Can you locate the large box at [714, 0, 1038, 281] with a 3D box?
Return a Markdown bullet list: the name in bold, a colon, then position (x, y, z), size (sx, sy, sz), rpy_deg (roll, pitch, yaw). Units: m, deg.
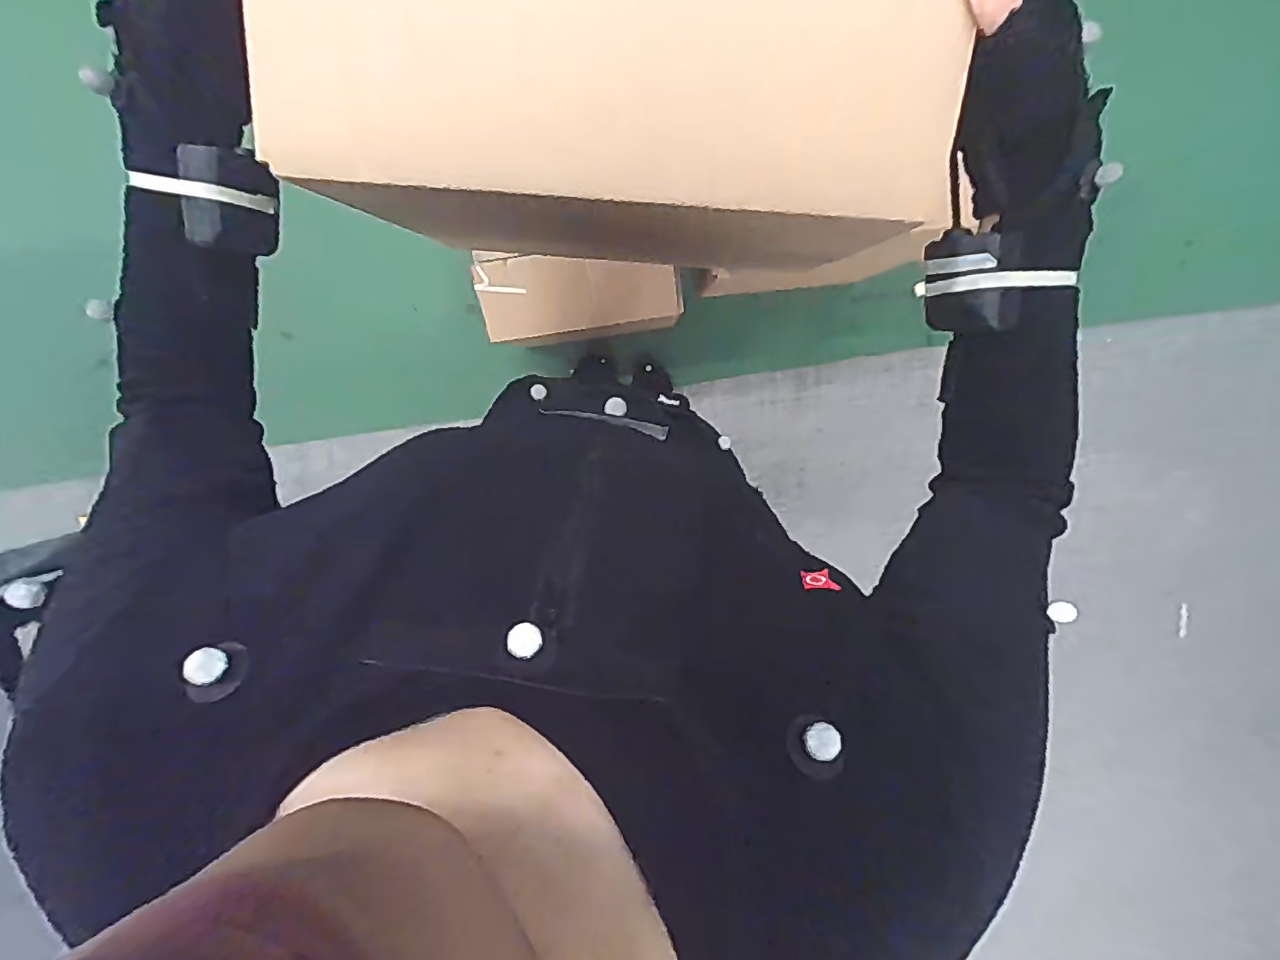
- **large box**: position (0.358, -0.542, 0.913), size (0.408, 0.320, 0.320), rpy_deg (-6, 102, 0)
